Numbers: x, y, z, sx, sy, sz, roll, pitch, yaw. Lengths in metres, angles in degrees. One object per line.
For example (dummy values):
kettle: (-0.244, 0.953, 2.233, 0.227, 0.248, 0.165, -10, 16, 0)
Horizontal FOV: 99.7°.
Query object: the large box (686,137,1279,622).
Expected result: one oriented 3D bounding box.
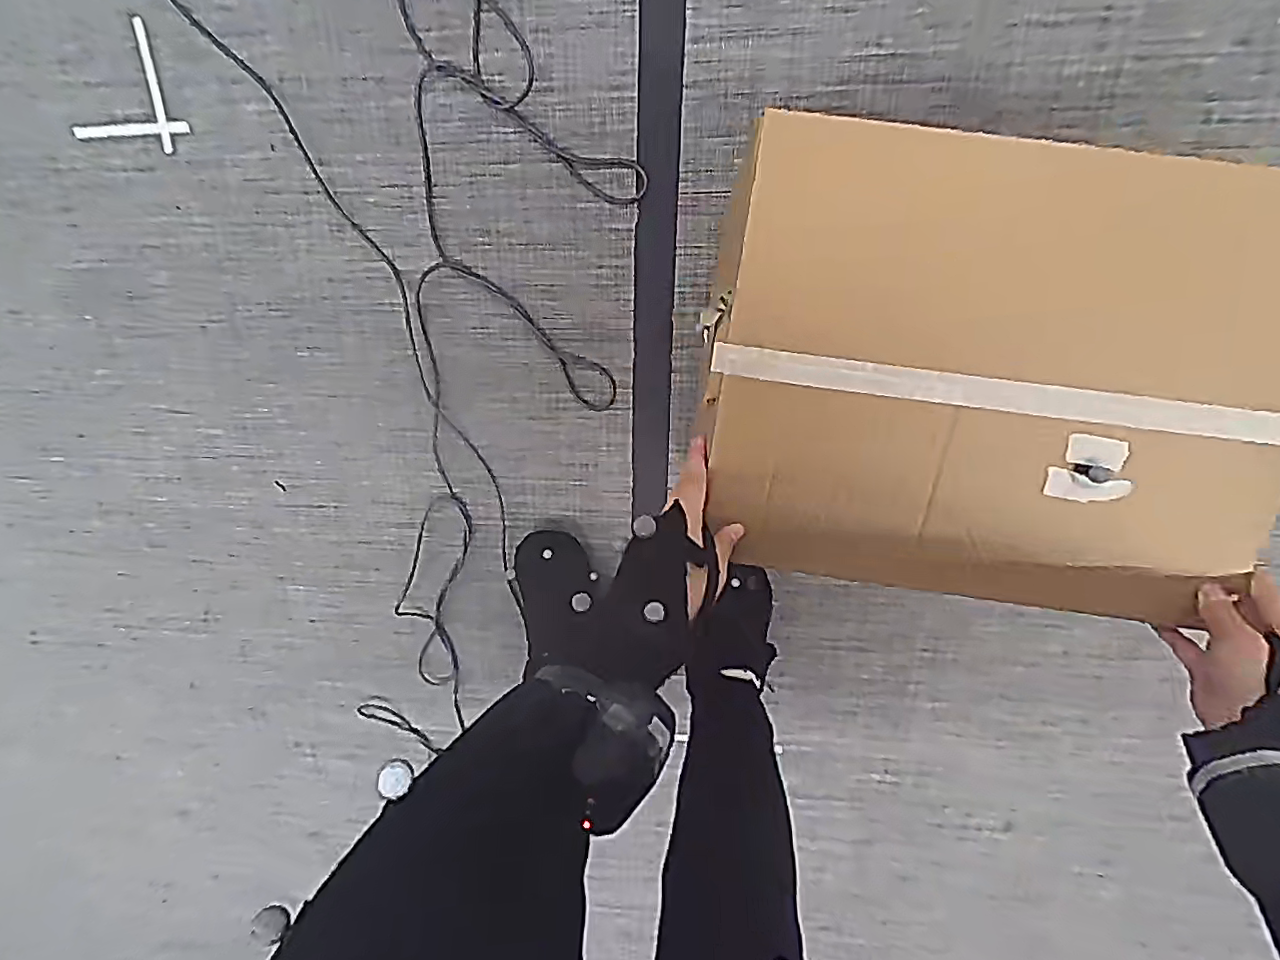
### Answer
large box: (0.263, -0.093, 0.531, 0.408, 0.320, 0.320, 7, 106, 1)
